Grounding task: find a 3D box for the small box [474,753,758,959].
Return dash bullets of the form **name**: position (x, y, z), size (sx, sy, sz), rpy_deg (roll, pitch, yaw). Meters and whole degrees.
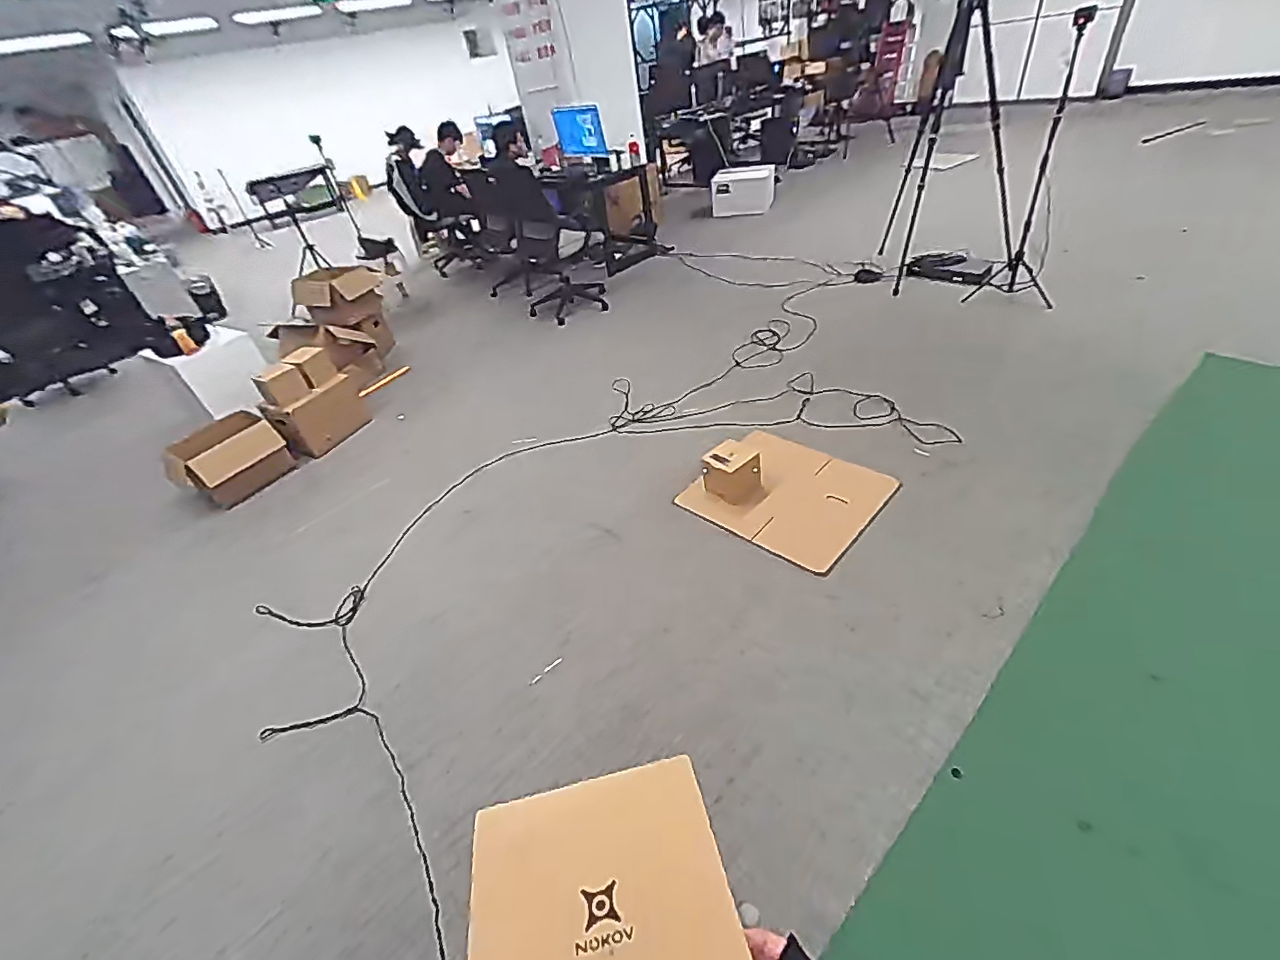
- **small box**: position (-0.014, 0.336, 0.377), size (0.168, 0.176, 0.179), rpy_deg (-11, 31, -8)
